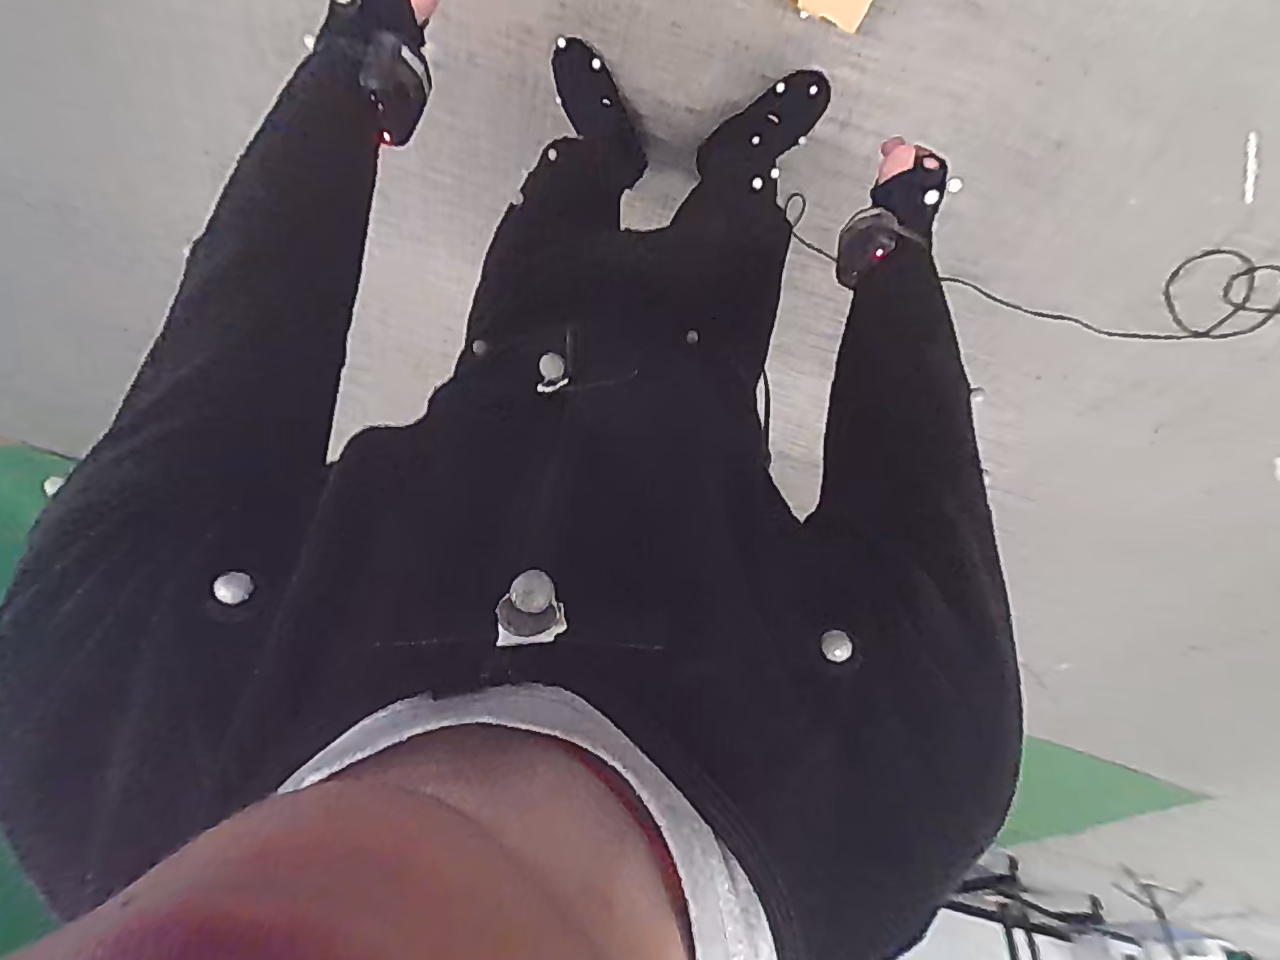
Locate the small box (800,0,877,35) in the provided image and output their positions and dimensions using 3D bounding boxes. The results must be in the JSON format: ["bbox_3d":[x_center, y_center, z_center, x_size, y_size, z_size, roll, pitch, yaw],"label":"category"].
[{"bbox_3d":[0.334,-0.864,0.862,0.168,0.176,0.179,25,136,-8],"label":"small box"}]
